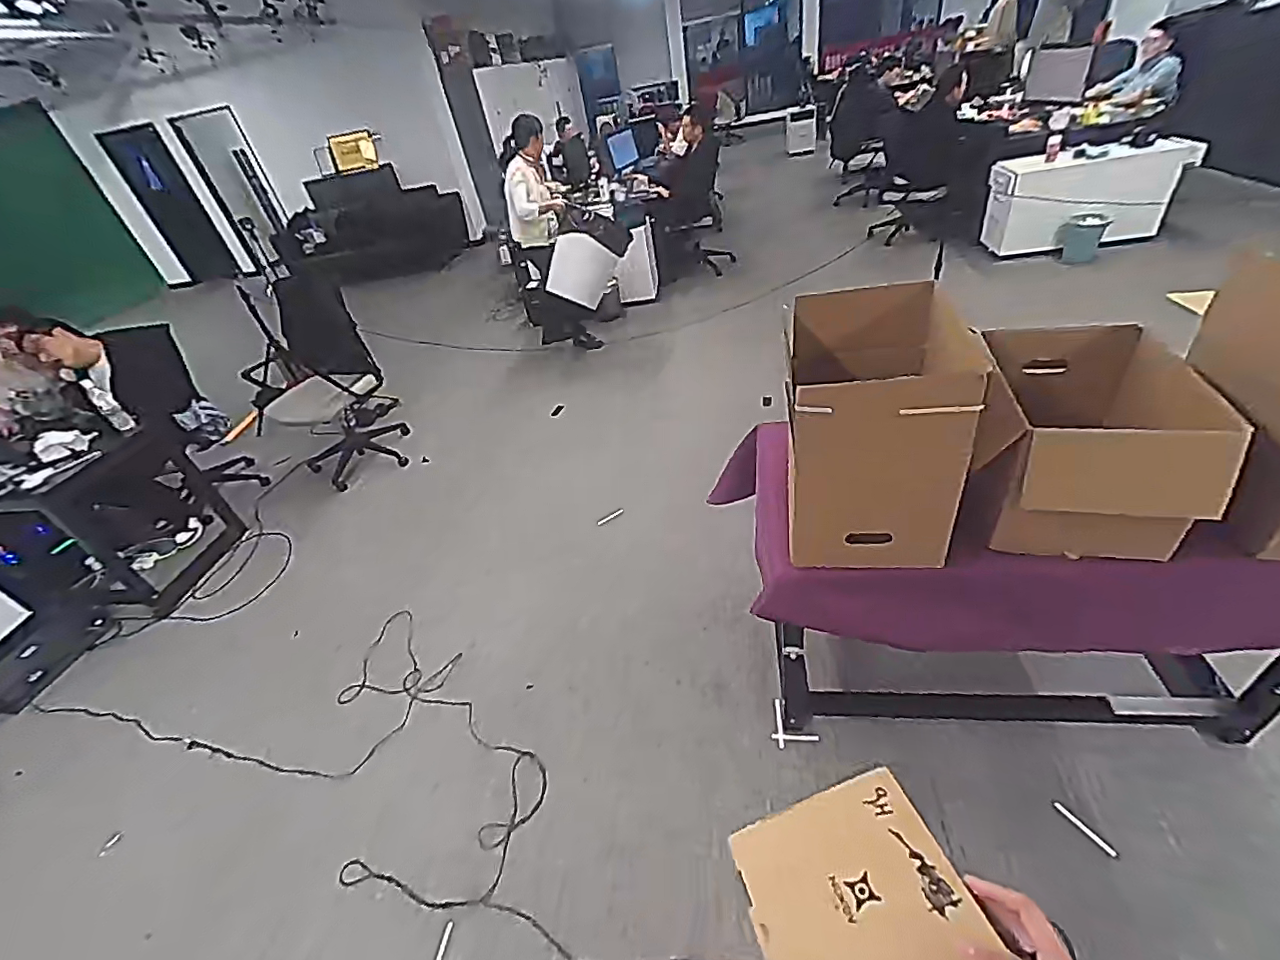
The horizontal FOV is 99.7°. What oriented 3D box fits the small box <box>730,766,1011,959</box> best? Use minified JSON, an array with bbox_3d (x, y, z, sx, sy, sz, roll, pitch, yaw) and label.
[{"bbox_3d":[0.211,0.418,0.510,0.179,0.176,0.168,-23,33,-1],"label":"small box"}]
